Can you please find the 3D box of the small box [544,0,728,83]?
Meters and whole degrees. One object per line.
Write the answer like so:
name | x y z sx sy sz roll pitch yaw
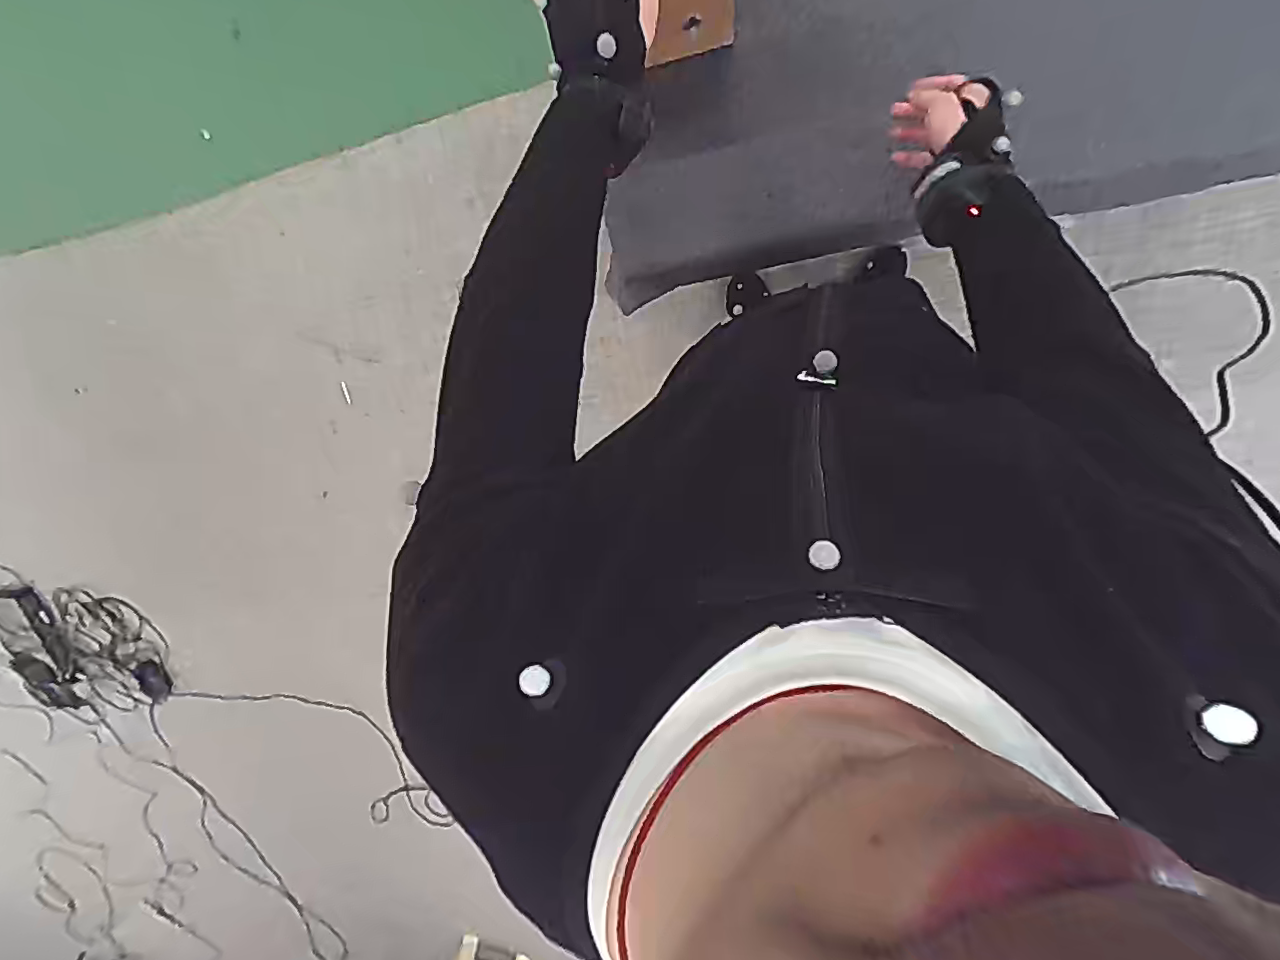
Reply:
small box | -0.004 -0.541 0.546 0.179 0.176 0.168 -6 107 11
